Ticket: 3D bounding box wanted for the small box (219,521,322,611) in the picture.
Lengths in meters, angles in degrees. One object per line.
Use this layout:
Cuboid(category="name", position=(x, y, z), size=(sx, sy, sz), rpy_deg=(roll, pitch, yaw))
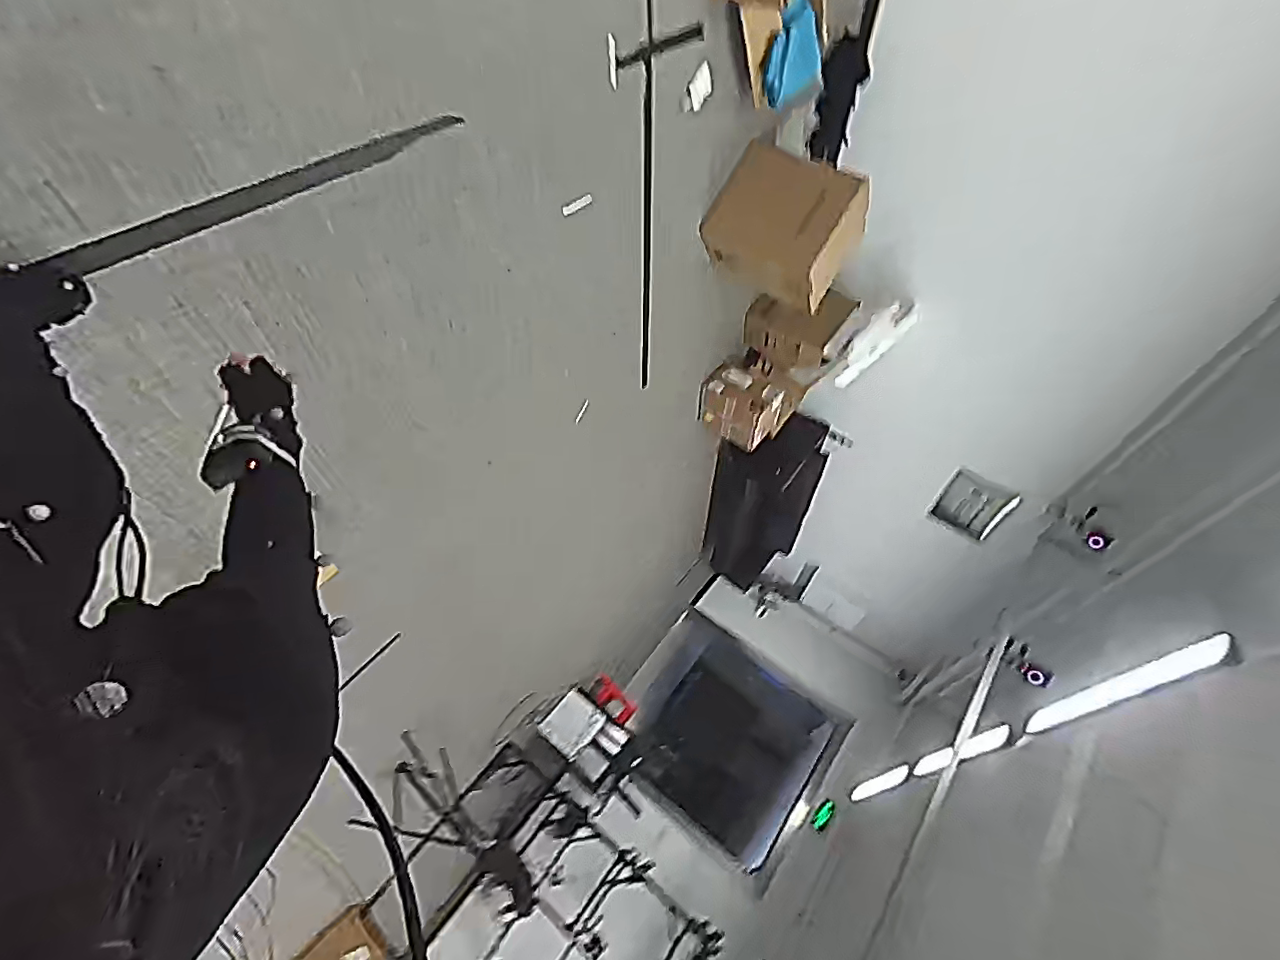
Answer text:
Cuboid(category="small box", position=(-1.130, 0.260, 1.647), size=(0.179, 0.176, 0.168), rpy_deg=(-48, 158, -26))
